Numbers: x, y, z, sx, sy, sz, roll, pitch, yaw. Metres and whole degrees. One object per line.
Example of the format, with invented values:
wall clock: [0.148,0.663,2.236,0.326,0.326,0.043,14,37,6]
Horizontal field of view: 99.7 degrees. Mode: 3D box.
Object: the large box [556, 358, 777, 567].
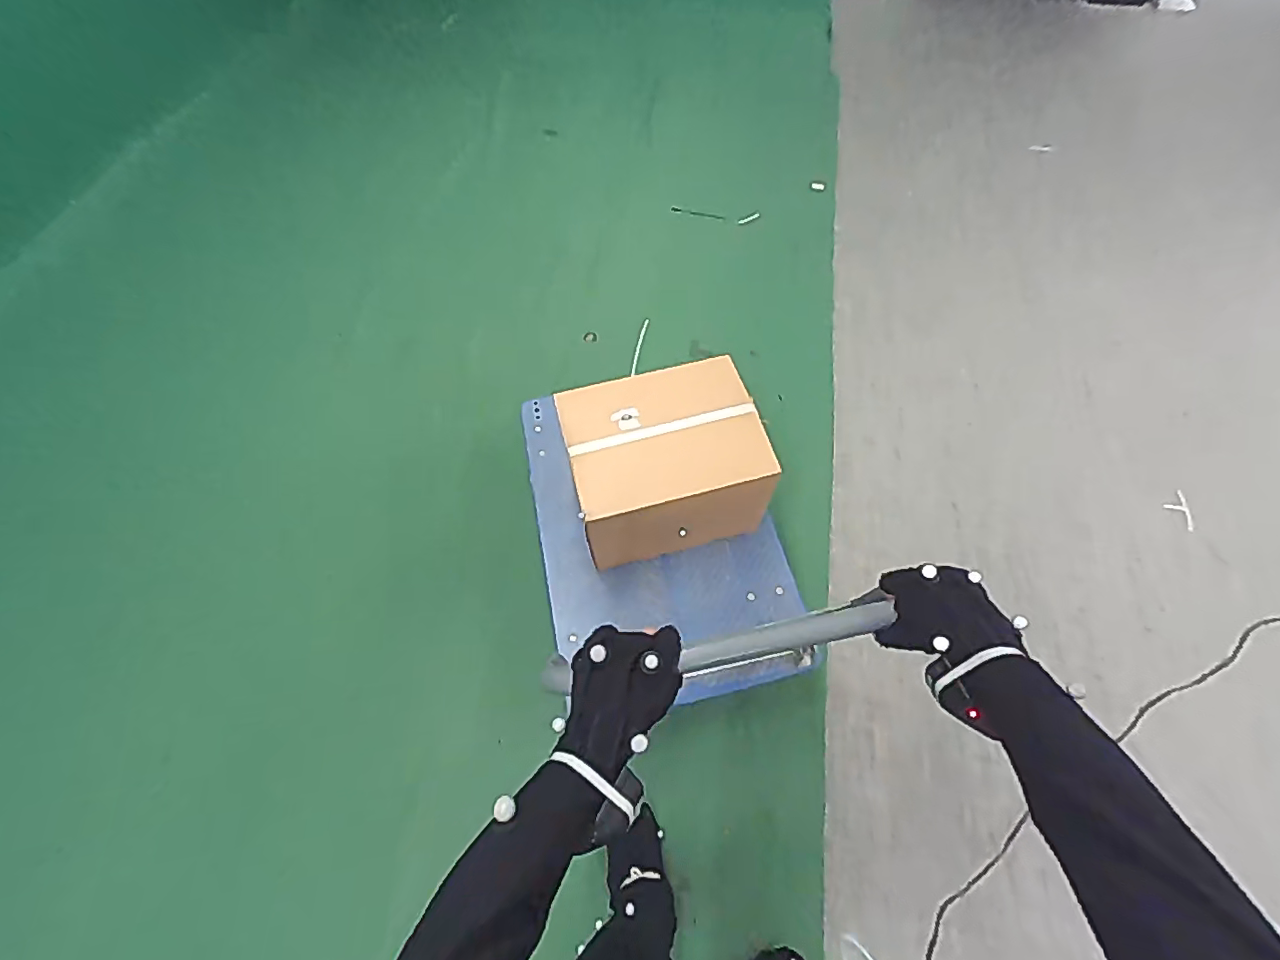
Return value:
large box: [0.052,-0.029,1.265,0.408,0.320,0.320,-15,64,-6]
